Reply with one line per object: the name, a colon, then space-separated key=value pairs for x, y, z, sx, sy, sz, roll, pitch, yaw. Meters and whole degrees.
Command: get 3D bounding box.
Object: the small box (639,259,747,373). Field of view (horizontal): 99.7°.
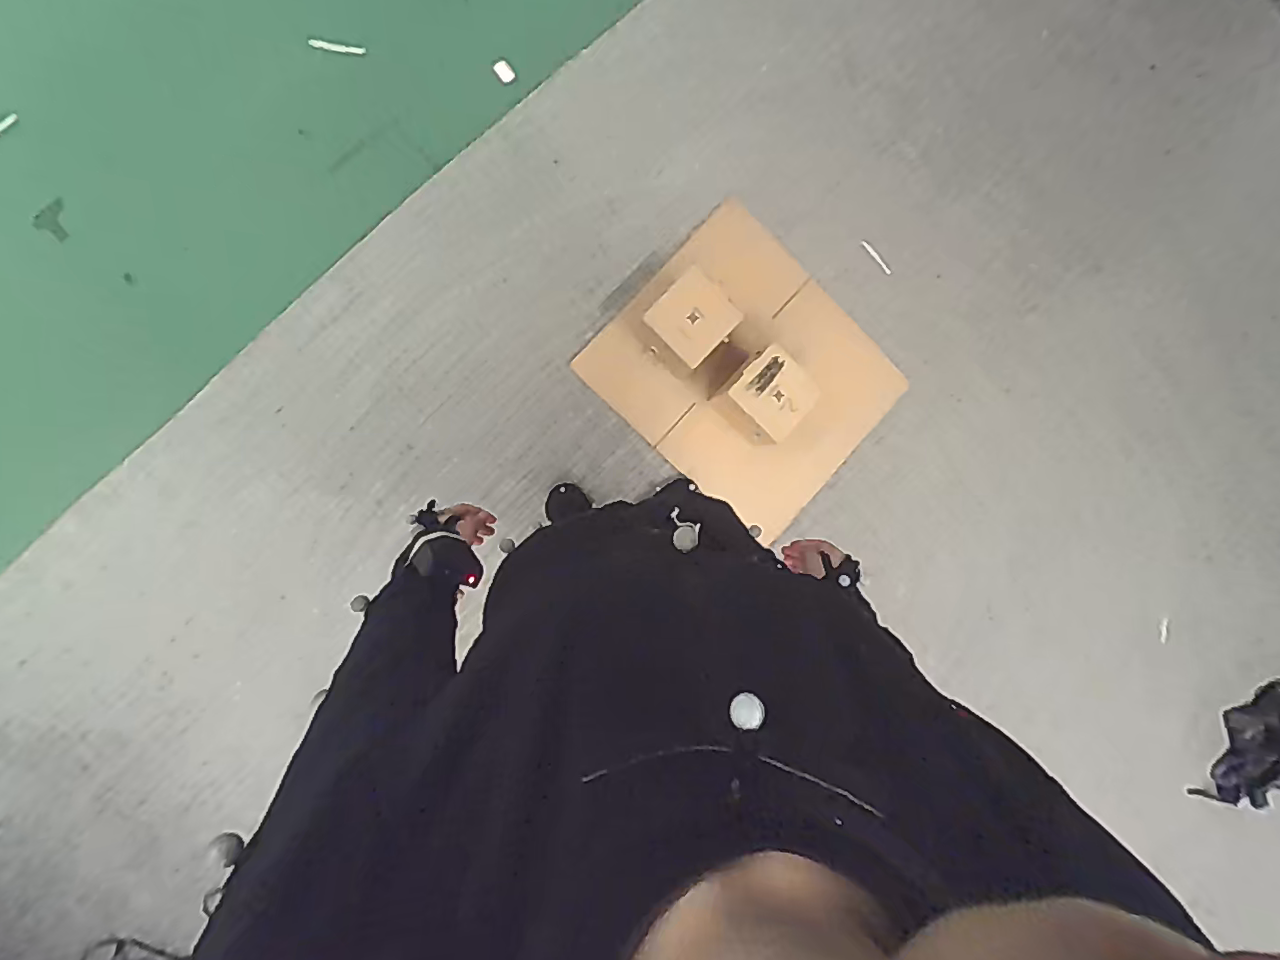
small box: x=0.114 y=-0.375 z=1.272 sx=0.168 sy=0.176 sz=0.179 roll=44 pitch=88 yaw=-7
